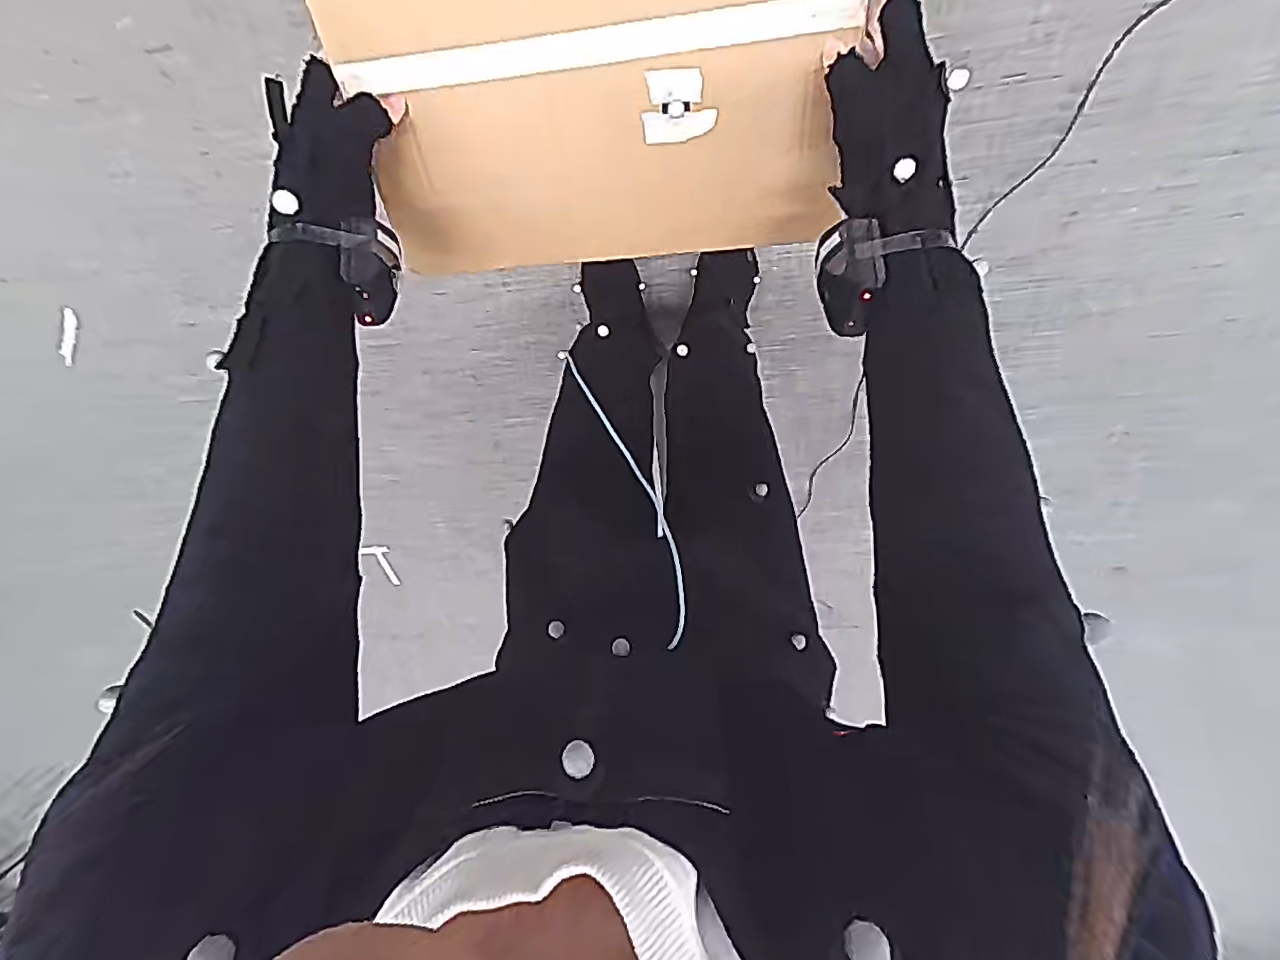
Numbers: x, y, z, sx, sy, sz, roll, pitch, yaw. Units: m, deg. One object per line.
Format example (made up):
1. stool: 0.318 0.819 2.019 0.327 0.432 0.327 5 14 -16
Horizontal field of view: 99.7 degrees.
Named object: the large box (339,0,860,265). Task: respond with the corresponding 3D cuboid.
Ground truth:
1. large box: -0.024 -0.438 0.540 0.408 0.320 0.320 -3 129 7
